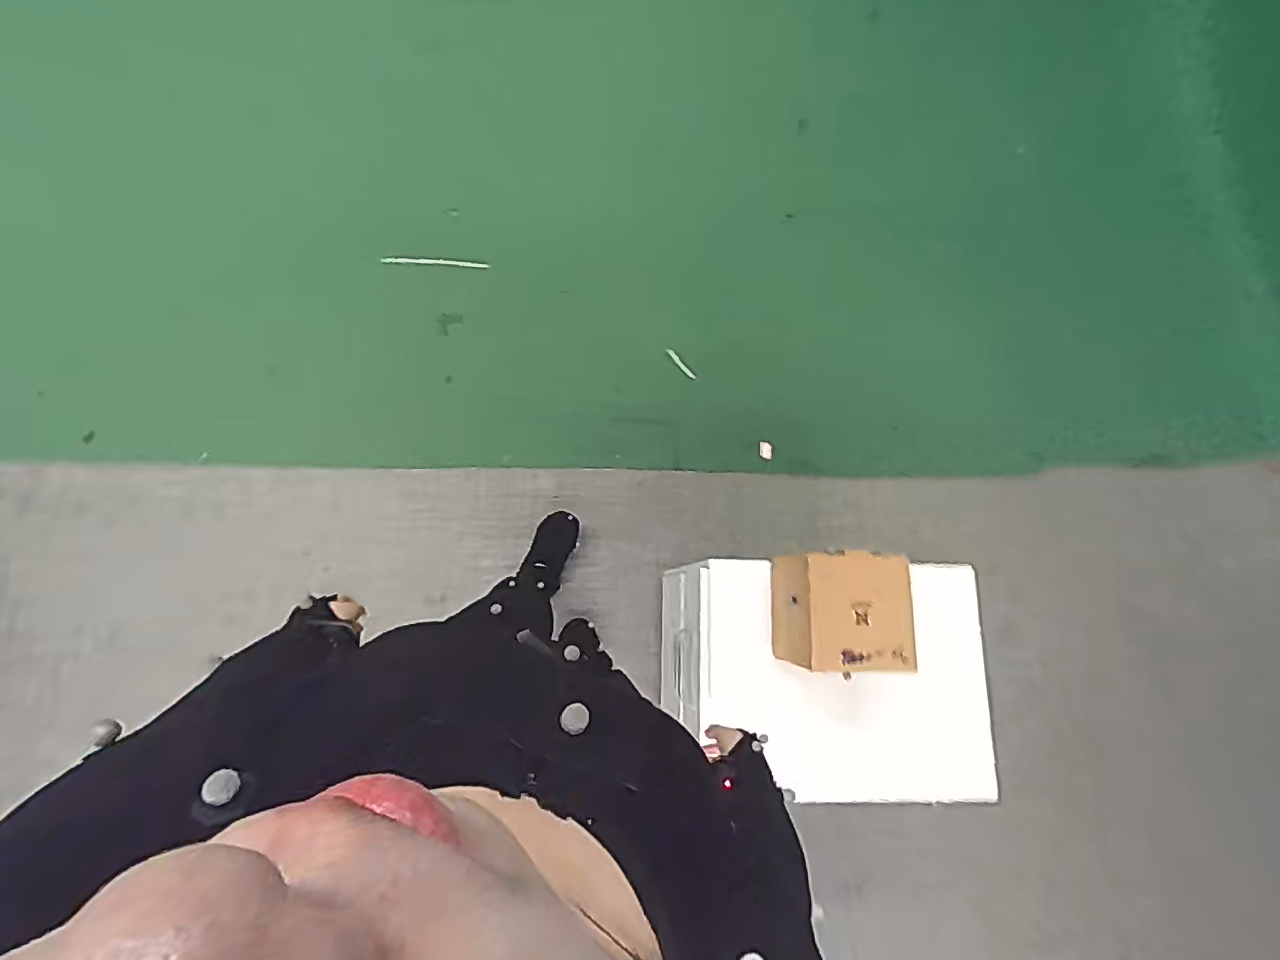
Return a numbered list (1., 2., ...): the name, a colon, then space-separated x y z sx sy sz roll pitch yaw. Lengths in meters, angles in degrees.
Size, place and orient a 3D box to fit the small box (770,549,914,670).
1. small box: 0.320 0.209 0.889 0.168 0.176 0.179 3 79 -6
